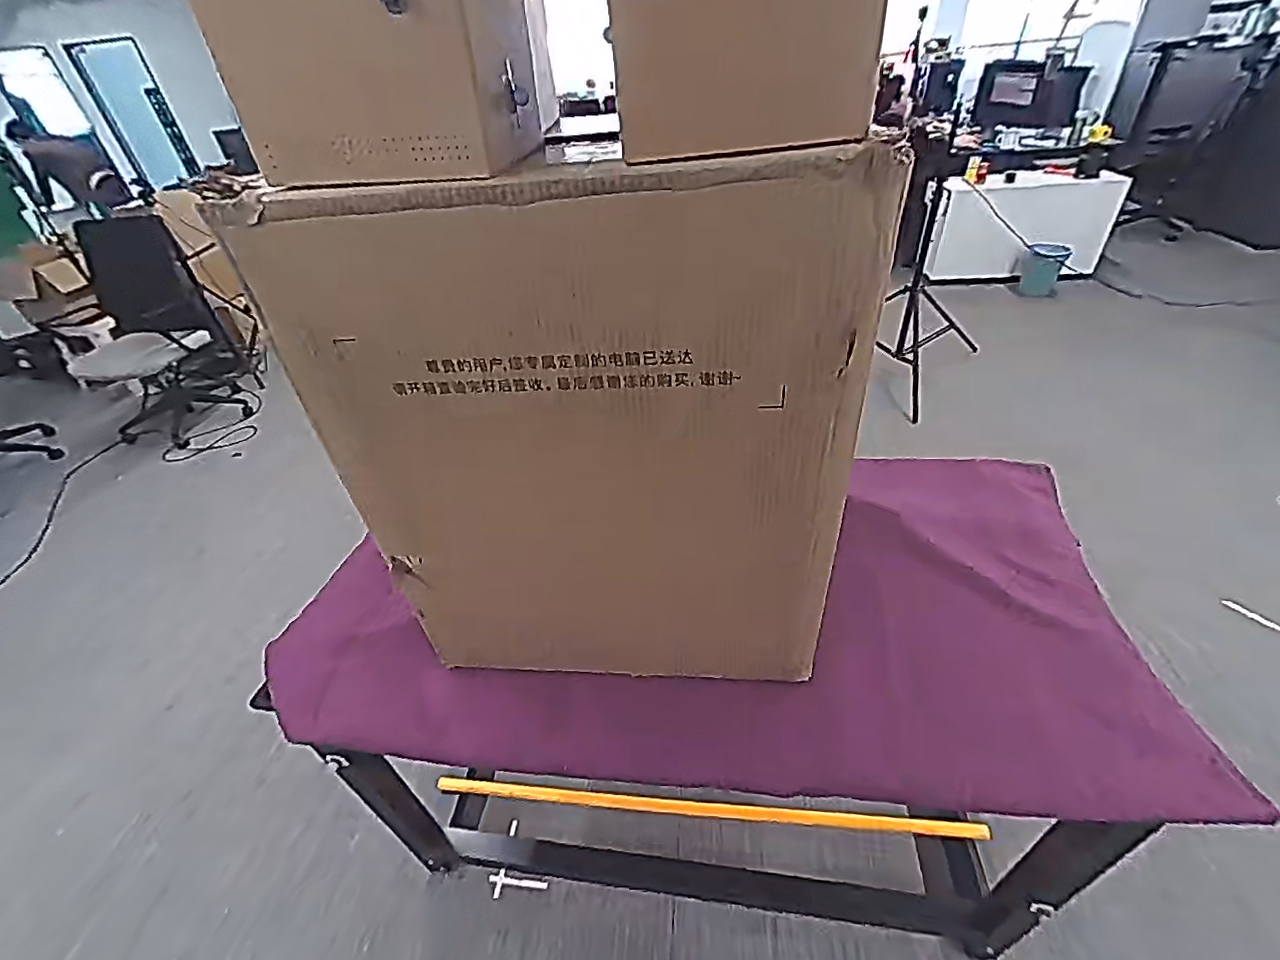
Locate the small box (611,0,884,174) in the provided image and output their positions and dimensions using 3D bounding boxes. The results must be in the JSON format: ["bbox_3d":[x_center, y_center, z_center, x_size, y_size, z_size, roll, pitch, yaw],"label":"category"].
[{"bbox_3d":[0.070,-0.331,0.380,0.168,0.176,0.179,-2,38,7],"label":"small box"}]
